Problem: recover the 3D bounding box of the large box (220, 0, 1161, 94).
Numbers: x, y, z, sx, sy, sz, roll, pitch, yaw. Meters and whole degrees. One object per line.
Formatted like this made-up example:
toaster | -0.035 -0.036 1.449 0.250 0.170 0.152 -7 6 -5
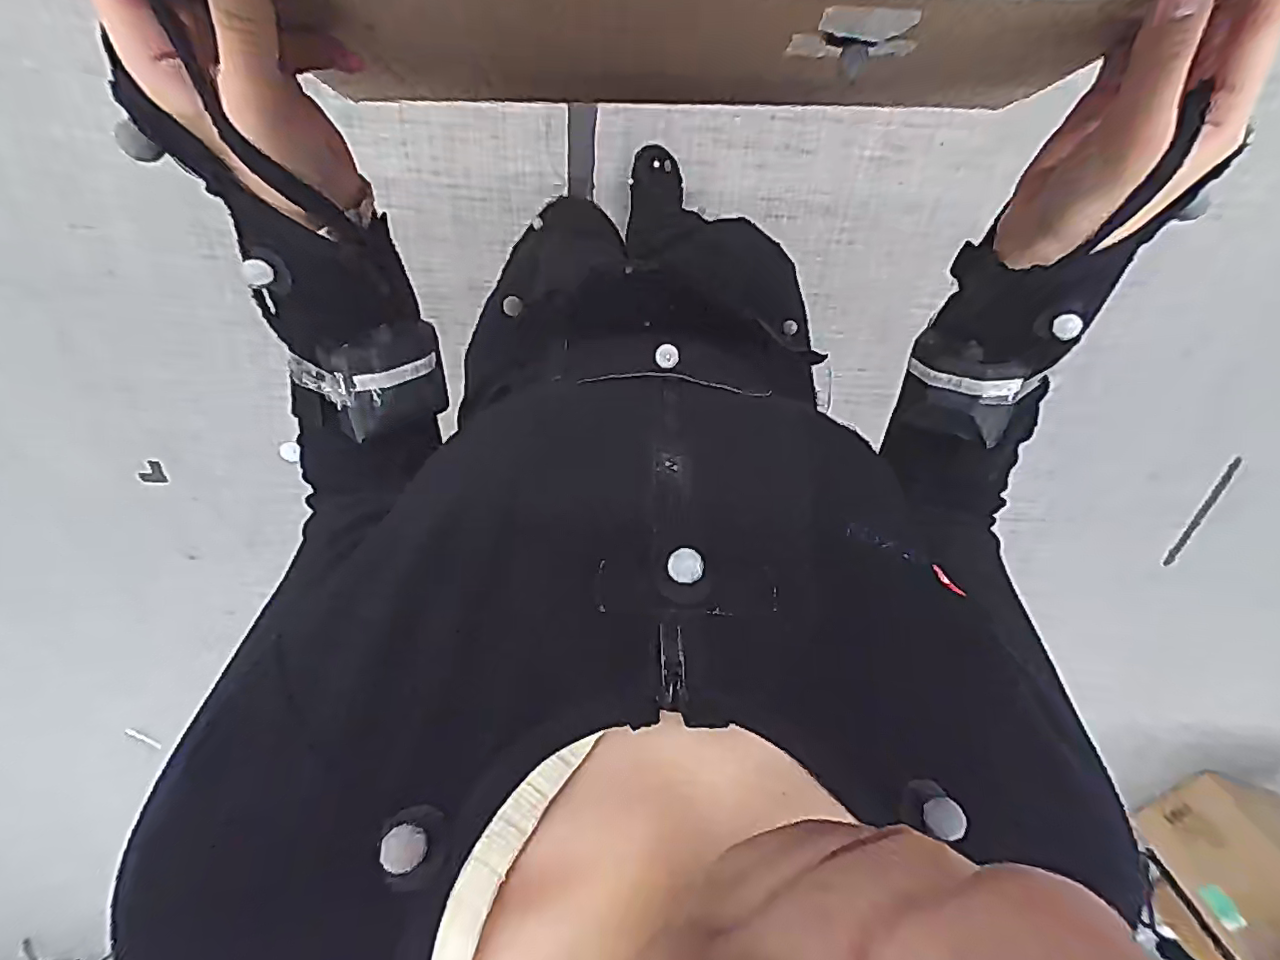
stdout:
large box | 0.023 -0.335 0.143 0.408 0.320 0.320 -2 110 -1
